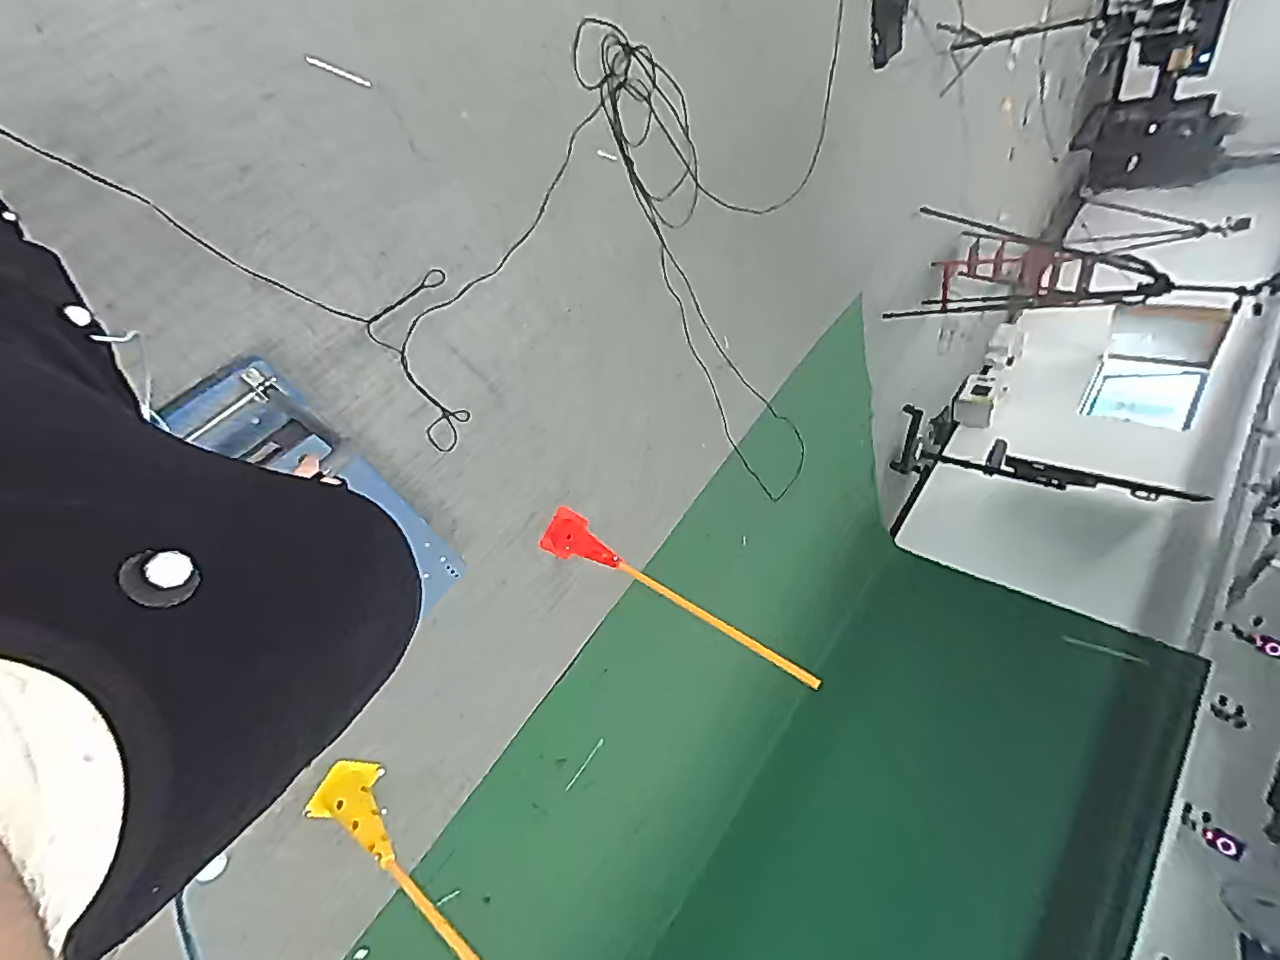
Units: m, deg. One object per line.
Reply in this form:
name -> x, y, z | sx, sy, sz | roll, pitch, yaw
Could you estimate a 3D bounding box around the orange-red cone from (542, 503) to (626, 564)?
orange-red cone -> -0.196, 0.261, 2.207 | 0.198, 0.360, 0.199 | 41, 74, -50
